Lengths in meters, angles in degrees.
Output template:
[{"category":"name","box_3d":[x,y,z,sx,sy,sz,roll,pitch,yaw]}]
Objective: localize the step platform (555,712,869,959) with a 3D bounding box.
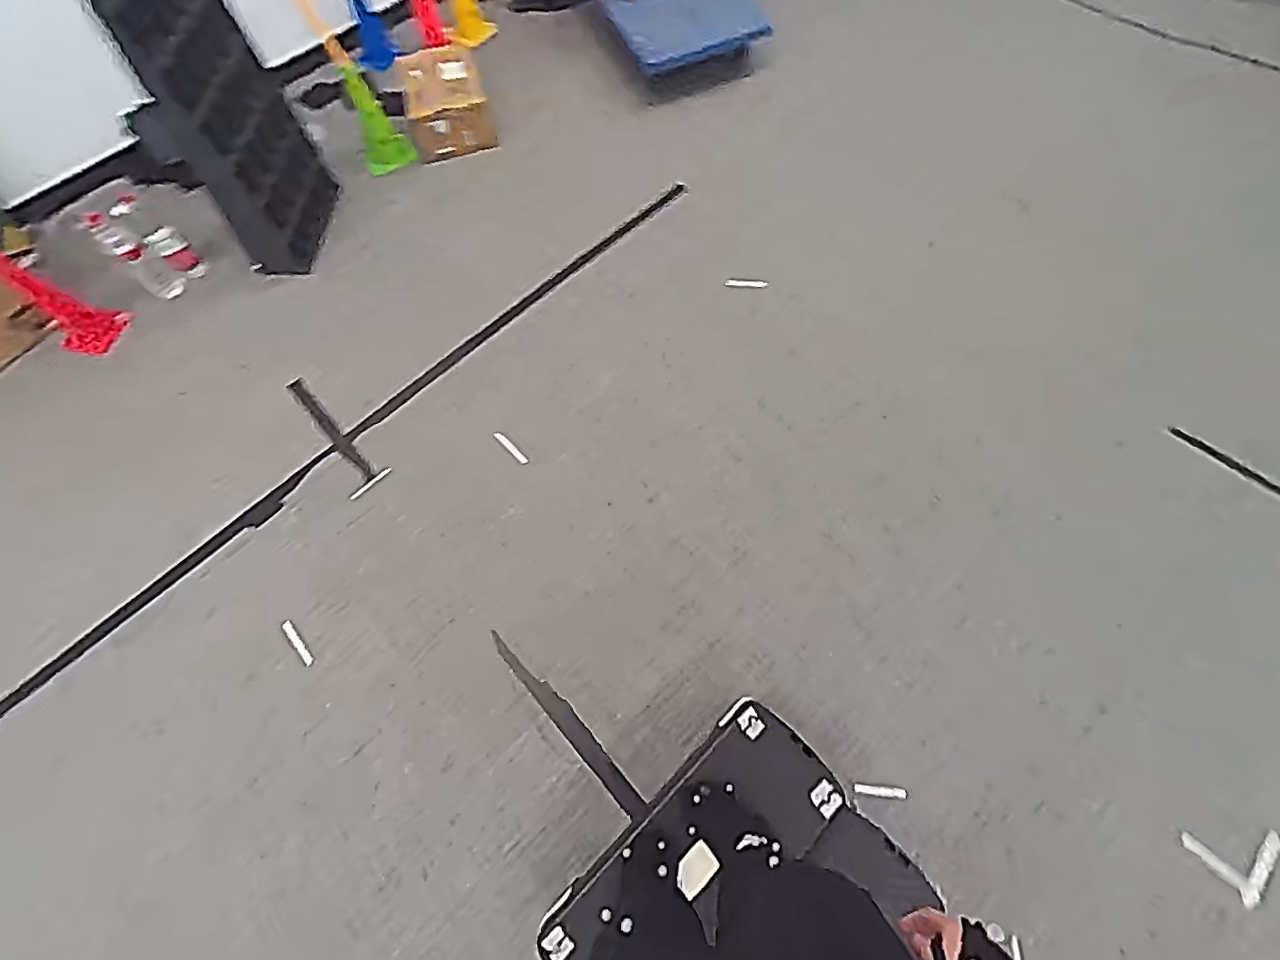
[{"category":"step platform","box_3d":[0.156,0.826,1.148,0.684,0.204,0.286,-38,68,-15]}]
